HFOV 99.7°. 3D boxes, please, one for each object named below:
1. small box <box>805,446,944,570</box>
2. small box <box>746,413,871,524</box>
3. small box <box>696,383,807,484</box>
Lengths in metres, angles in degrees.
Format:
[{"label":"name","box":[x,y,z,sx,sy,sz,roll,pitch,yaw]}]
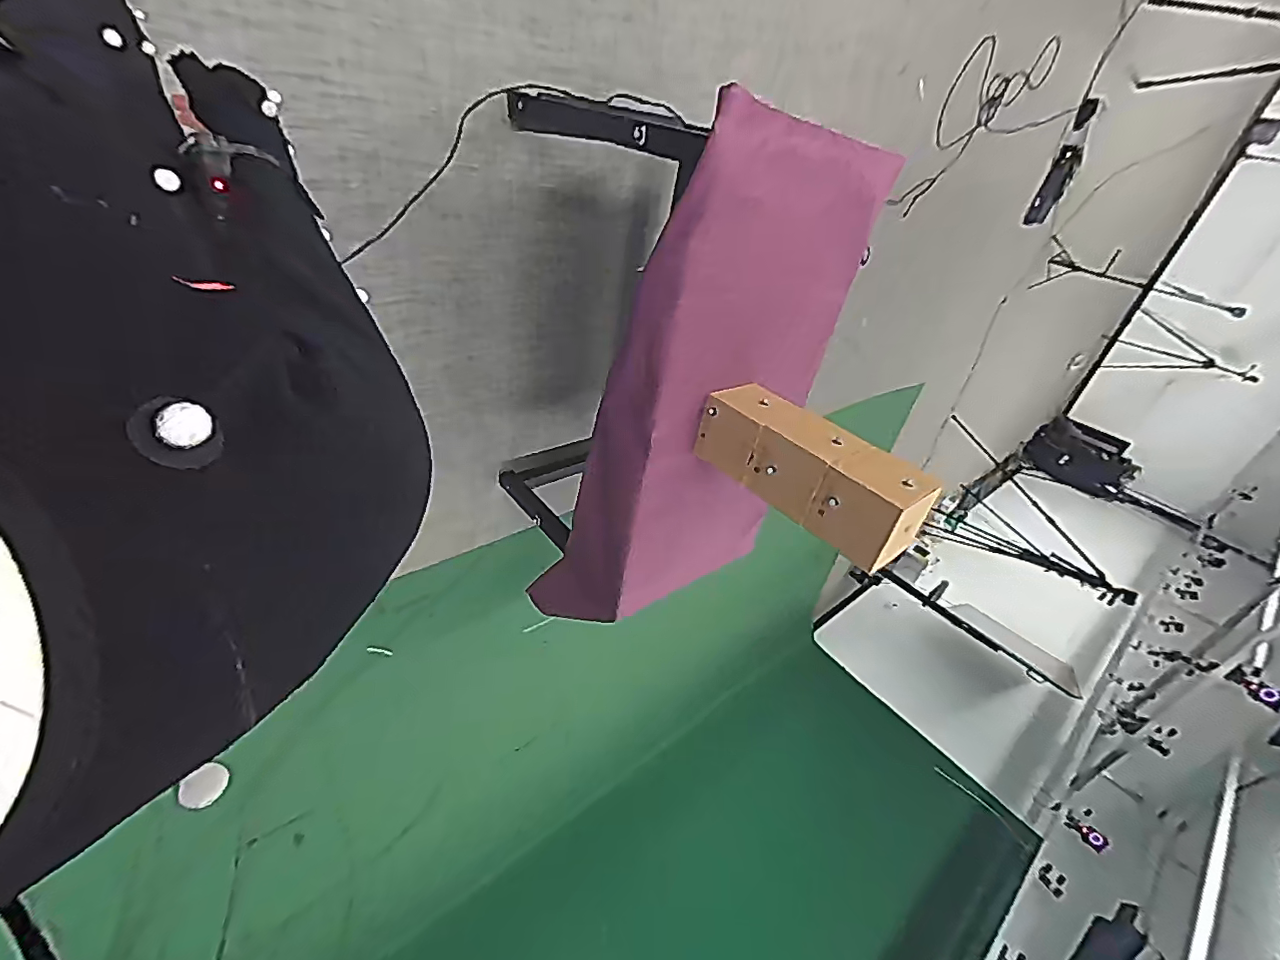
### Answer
[{"label":"small box","box":[0.475,0.048,1.110,0.179,0.176,0.168,-18,133,-37]},{"label":"small box","box":[0.369,-0.035,1.201,0.179,0.176,0.168,-18,133,-37]},{"label":"small box","box":[0.260,-0.117,1.293,0.179,0.176,0.168,-18,134,-38]}]
